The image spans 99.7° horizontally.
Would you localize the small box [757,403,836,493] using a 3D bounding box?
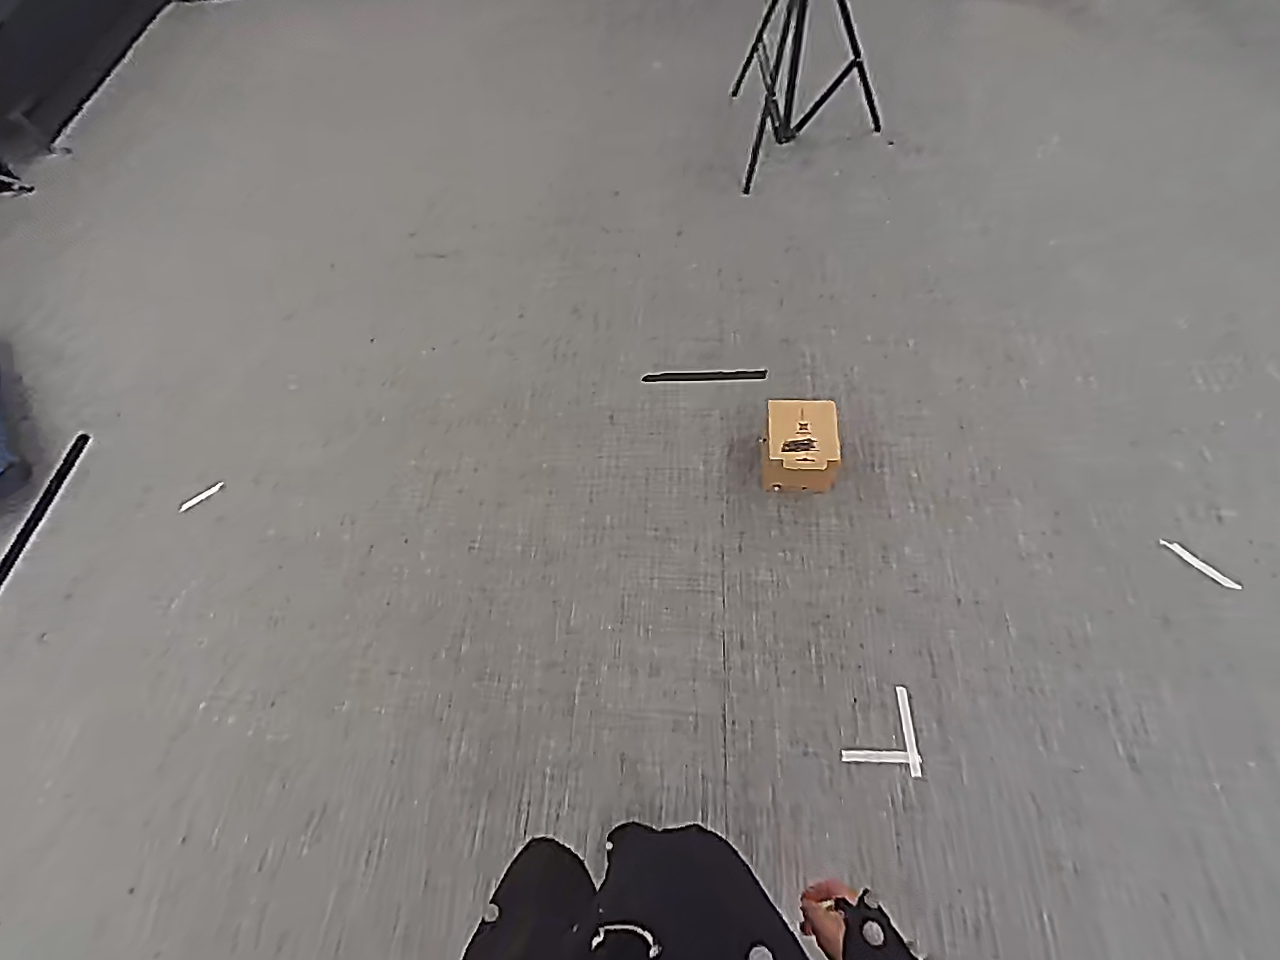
[{"bbox_3d":[0.391,-0.077,1.375,0.168,0.176,0.179,1,63,6],"label":"small box"}]
